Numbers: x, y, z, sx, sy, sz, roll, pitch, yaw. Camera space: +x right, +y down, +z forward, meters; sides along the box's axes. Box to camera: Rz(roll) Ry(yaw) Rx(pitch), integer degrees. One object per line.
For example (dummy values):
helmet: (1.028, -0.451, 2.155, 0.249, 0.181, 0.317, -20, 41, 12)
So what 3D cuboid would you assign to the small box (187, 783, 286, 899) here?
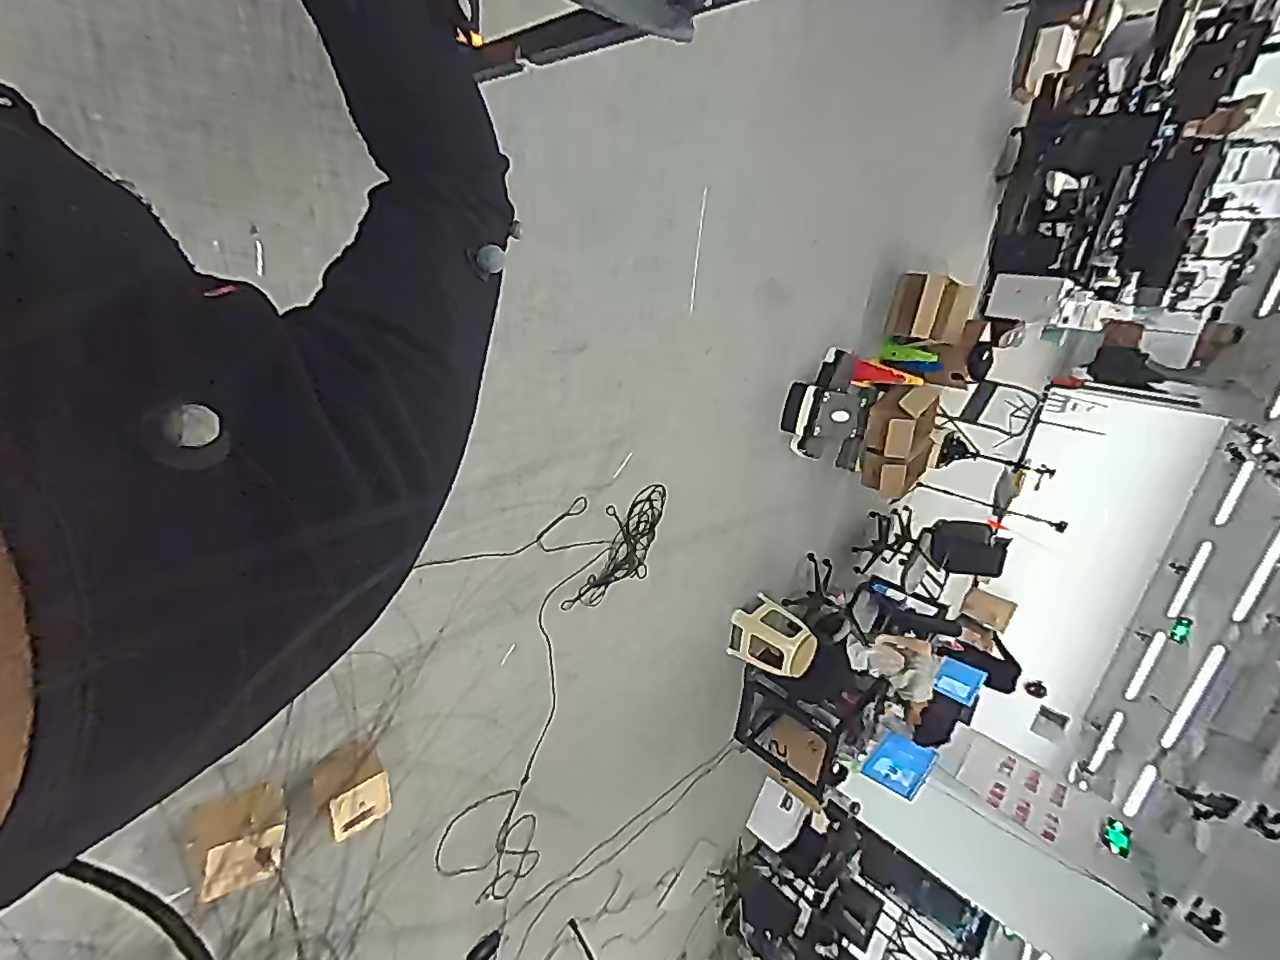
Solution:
small box: (-1.101, 0.968, 1.473, 0.179, 0.176, 0.168, 6, 103, -49)
